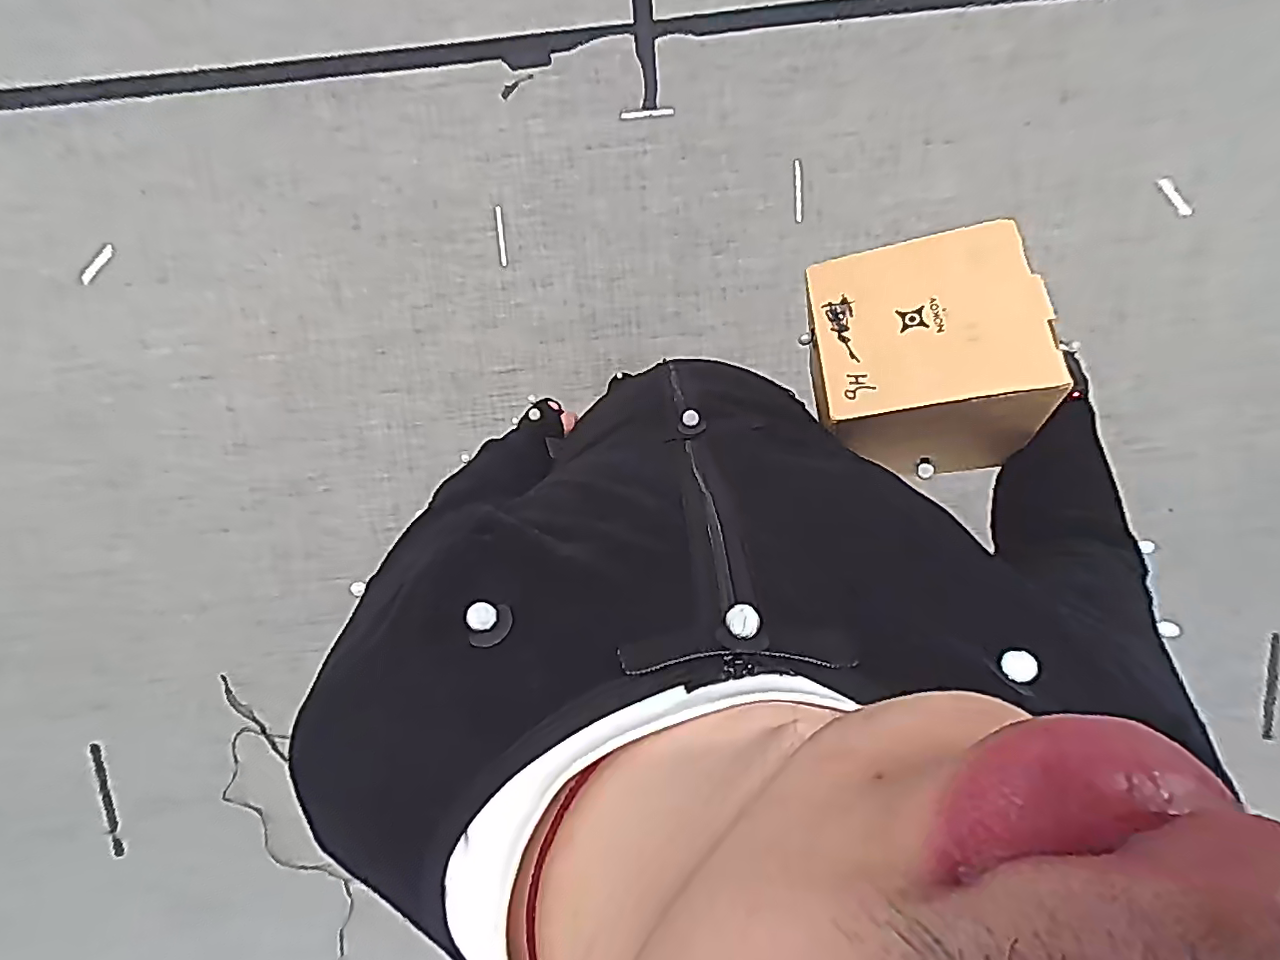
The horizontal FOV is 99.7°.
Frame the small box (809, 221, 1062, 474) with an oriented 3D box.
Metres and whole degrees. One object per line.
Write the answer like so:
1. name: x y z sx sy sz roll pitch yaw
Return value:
1. small box: 0.269 -0.116 0.542 0.179 0.176 0.168 -8 67 16
